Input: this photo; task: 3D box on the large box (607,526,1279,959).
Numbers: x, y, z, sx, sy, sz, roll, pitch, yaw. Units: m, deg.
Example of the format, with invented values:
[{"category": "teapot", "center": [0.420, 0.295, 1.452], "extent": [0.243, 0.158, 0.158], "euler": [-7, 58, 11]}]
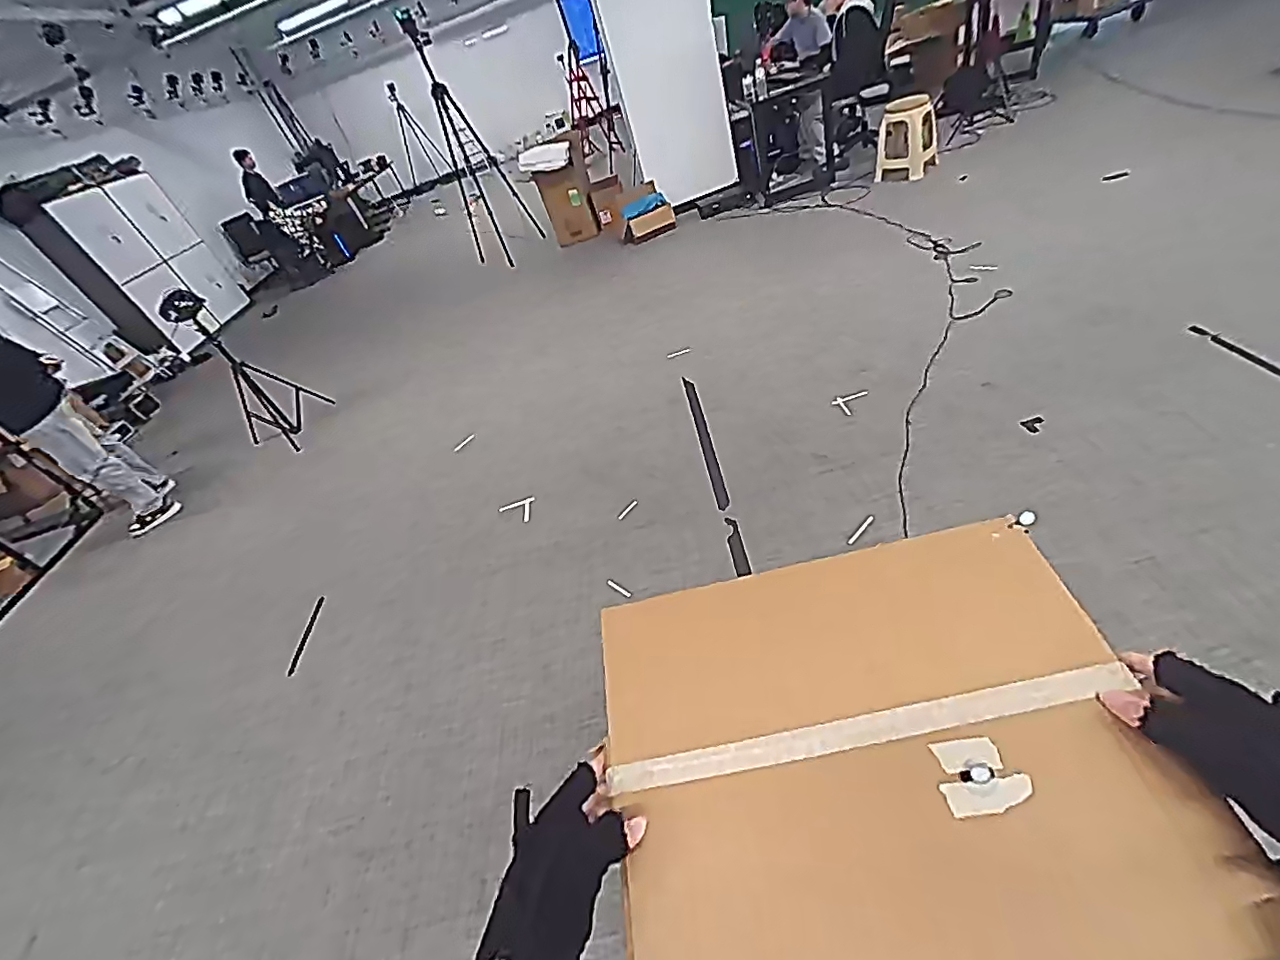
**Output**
[{"category": "large box", "center": [0.210, 0.300, 0.548], "extent": [0.408, 0.320, 0.320], "euler": [-15, 48, 6]}]
